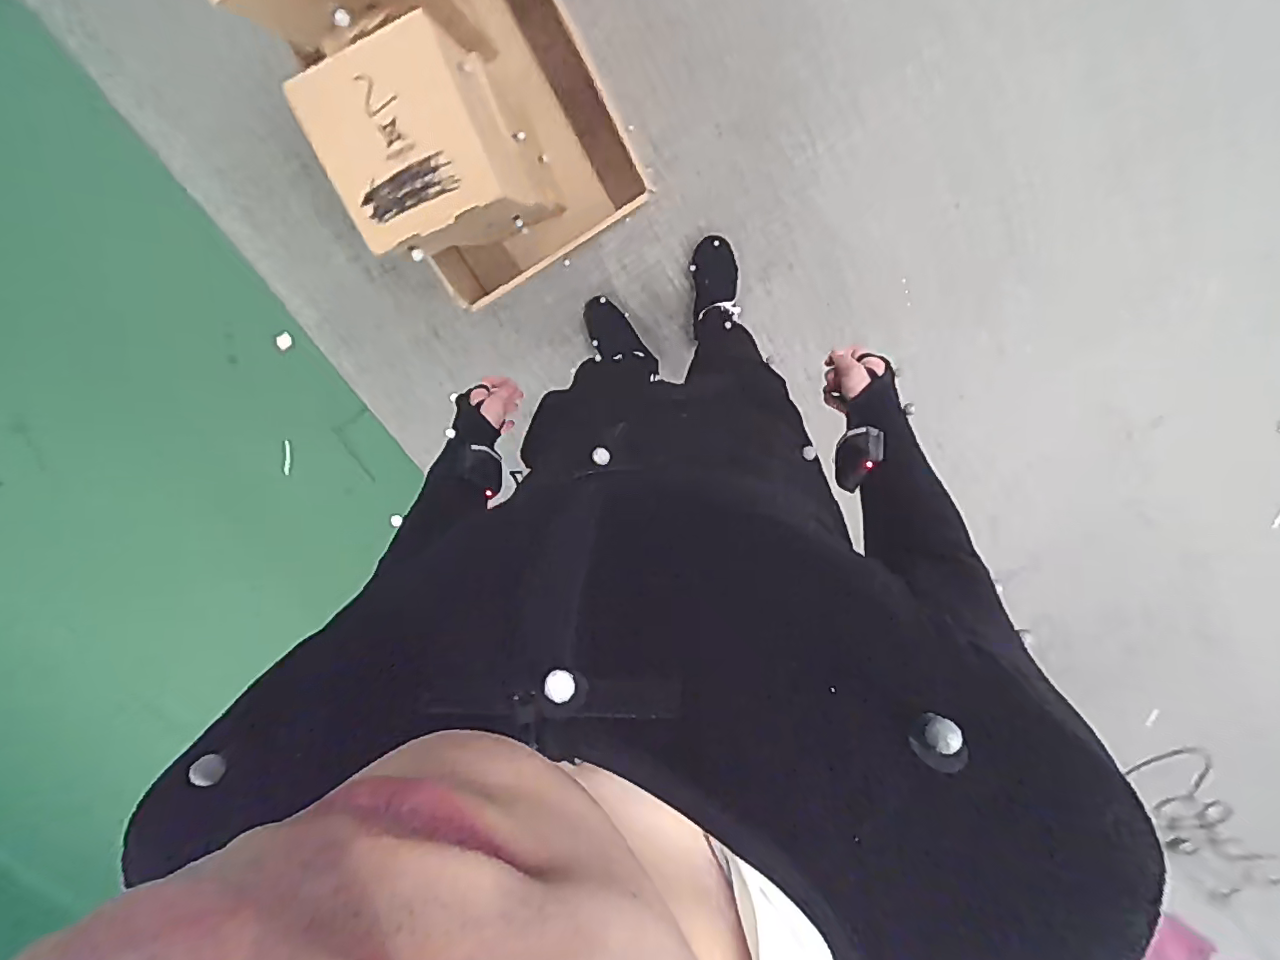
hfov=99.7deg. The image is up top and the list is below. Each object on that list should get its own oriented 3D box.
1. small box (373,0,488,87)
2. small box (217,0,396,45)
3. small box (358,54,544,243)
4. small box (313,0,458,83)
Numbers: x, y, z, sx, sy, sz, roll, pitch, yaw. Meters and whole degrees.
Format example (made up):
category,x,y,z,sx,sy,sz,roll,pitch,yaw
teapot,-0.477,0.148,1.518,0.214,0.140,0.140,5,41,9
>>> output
category,x,y,z,sx,sy,sz,roll,pitch,yaw
small box,-0.369,-0.735,0.843,0.168,0.176,0.179,-28,112,14
small box,-0.377,-0.596,0.549,0.168,0.176,0.179,-20,115,10
small box,-0.255,-0.461,0.783,0.168,0.176,0.179,-18,111,8
small box,-0.370,-0.664,0.698,0.168,0.176,0.179,-29,112,13
